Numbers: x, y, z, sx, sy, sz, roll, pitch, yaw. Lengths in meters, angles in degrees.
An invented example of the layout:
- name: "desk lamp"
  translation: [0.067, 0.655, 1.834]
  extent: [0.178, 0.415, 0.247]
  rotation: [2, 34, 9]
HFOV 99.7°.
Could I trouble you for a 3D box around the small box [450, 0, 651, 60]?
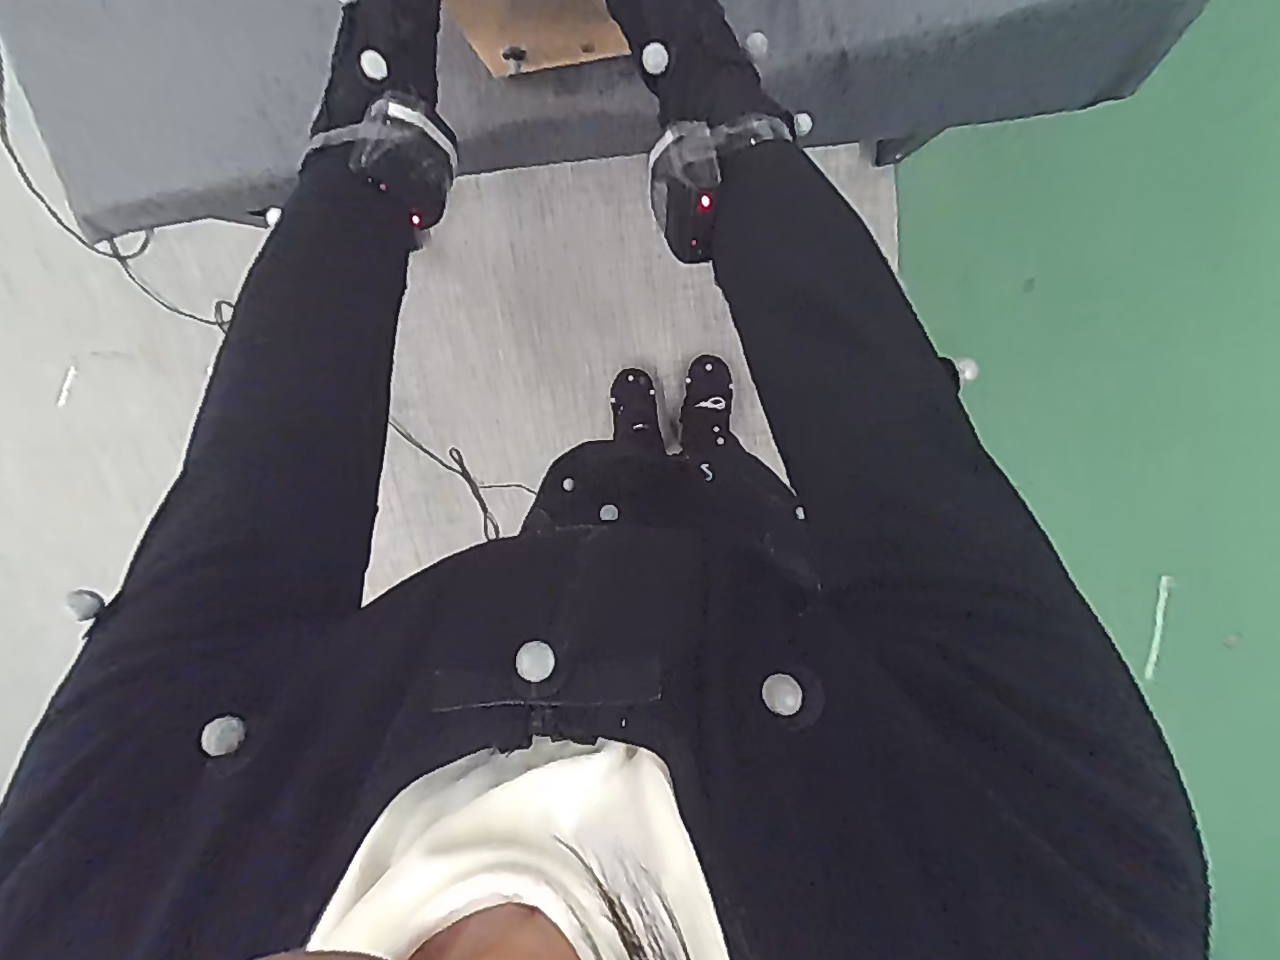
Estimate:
- name: "small box"
  translation: [-0.083, -0.488, 0.446]
  extent: [0.168, 0.176, 0.179]
  rotation: [-2, 98, 8]
